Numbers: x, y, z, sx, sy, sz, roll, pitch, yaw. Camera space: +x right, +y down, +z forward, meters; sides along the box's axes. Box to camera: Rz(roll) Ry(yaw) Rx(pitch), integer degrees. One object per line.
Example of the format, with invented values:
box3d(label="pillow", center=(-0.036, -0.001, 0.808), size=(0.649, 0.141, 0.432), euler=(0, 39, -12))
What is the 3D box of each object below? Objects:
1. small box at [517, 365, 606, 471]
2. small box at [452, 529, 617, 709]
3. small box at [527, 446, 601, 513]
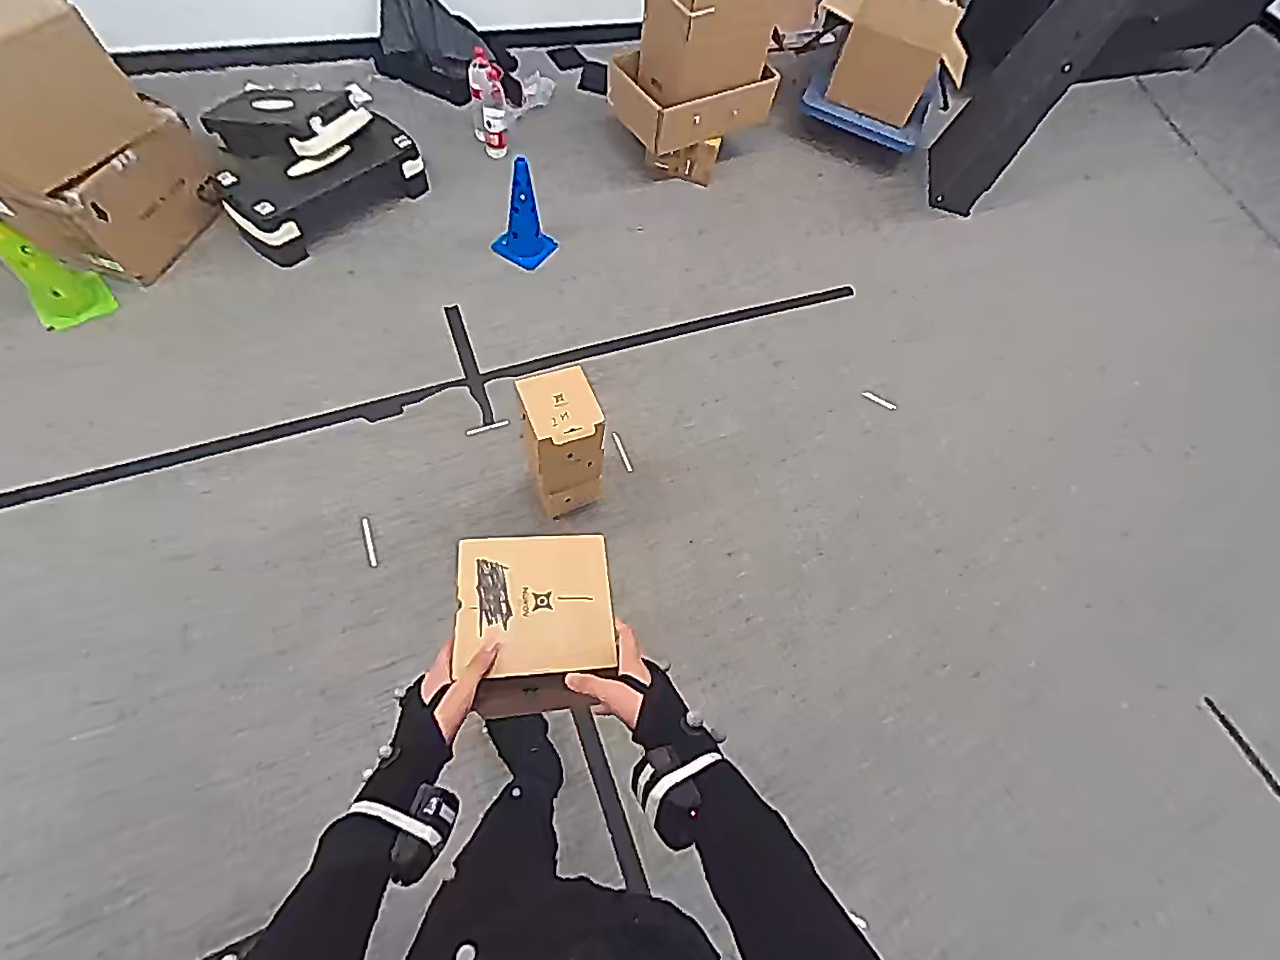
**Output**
box3d(label="small box", center=(-0.197, -0.148, 1.322), size=(0.168, 0.176, 0.179), euler=(-18, 68, -17))
box3d(label="small box", center=(-0.124, 0.179, 0.680), size=(0.179, 0.176, 0.168), euler=(-3, 56, -7))
box3d(label="small box", center=(-0.228, -0.017, 1.625), size=(0.168, 0.176, 0.179), euler=(-21, 69, -18))
